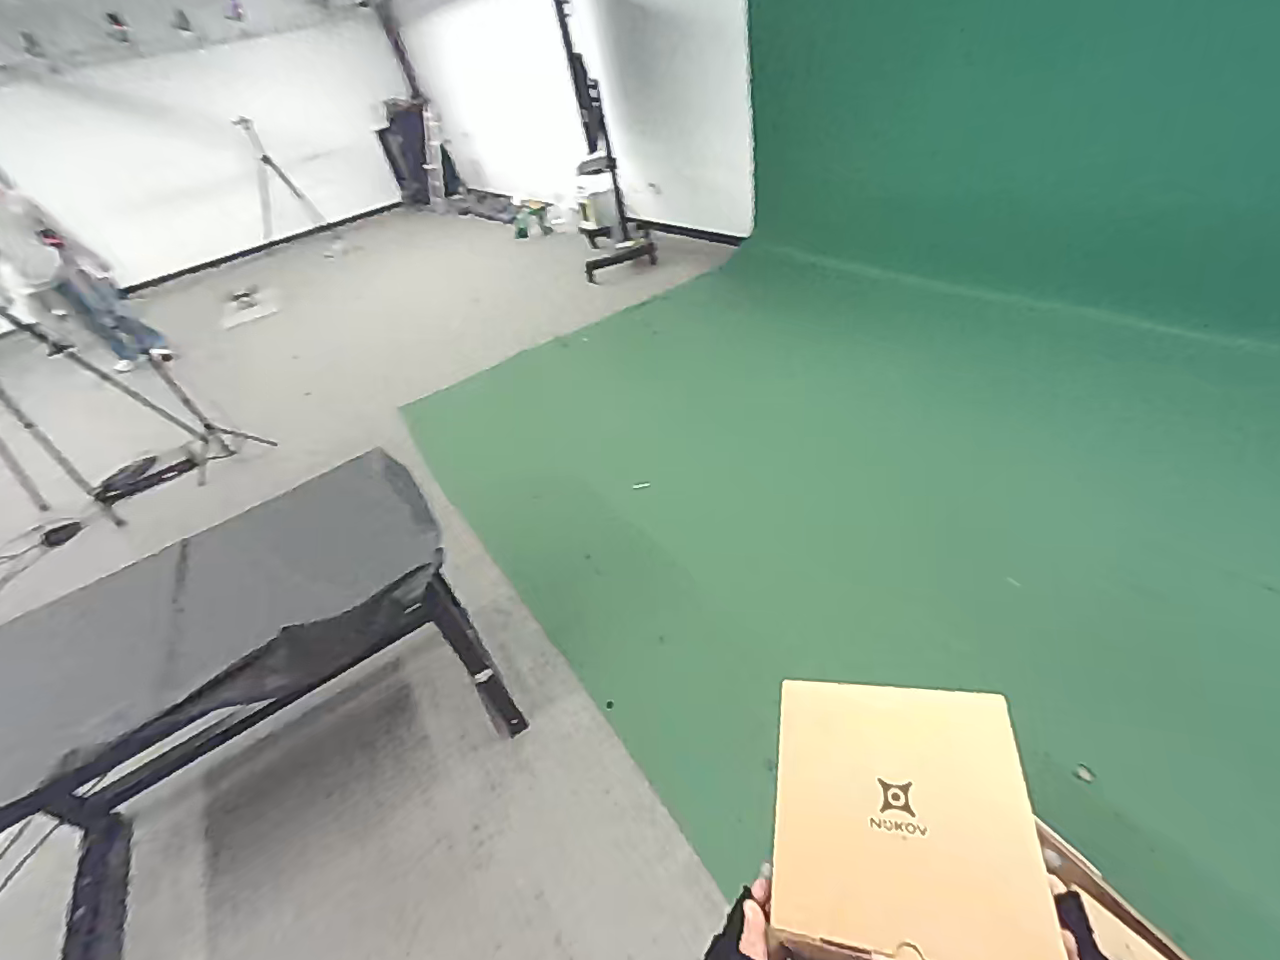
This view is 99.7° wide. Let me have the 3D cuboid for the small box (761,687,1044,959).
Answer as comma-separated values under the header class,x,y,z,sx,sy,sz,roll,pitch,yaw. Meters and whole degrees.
class,x,y,z,sx,sy,sz,roll,pitch,yaw
small box,0.198,0.296,0.441,0.168,0.176,0.179,-4,43,21
